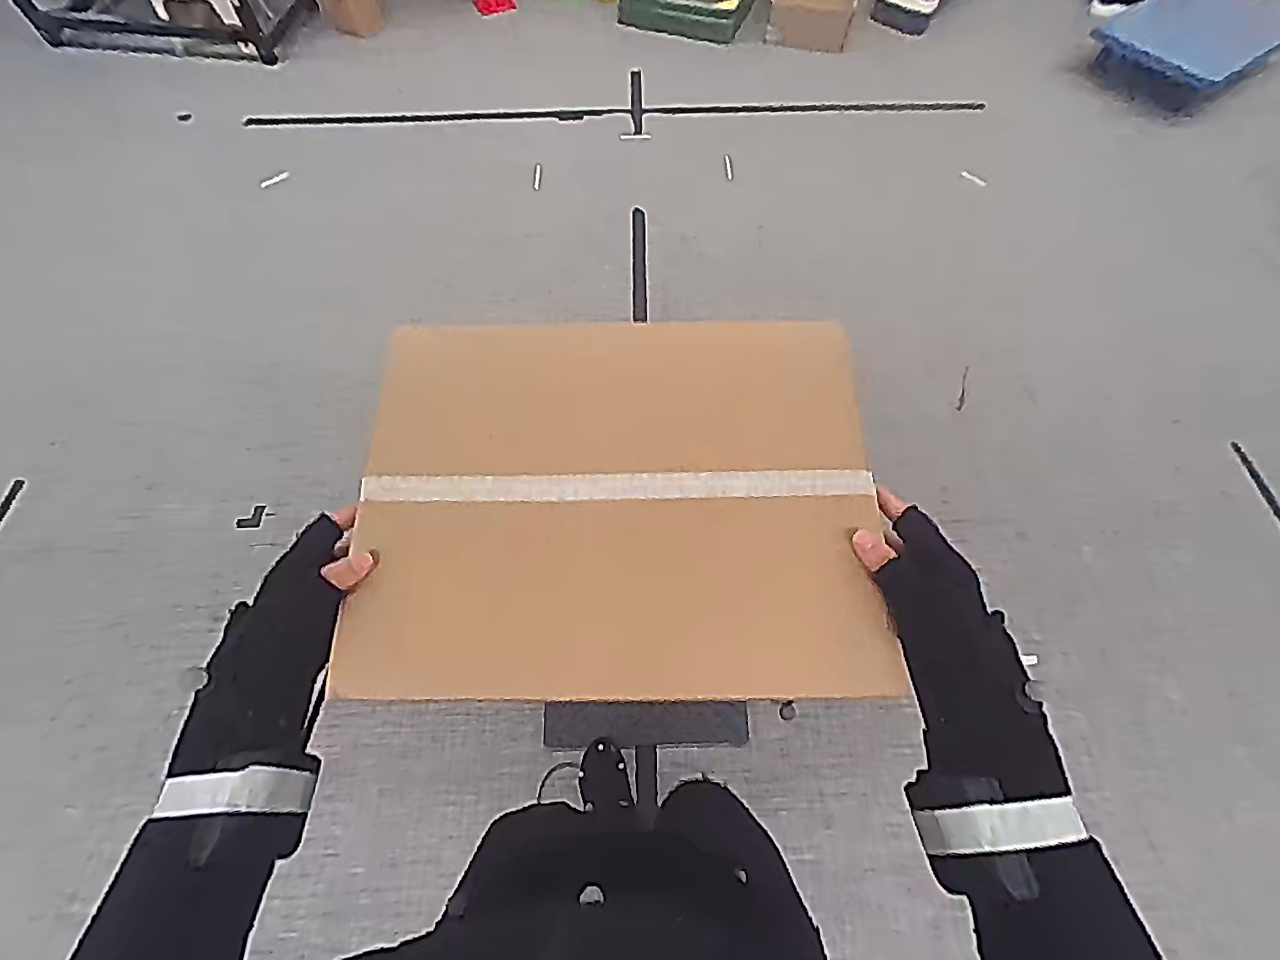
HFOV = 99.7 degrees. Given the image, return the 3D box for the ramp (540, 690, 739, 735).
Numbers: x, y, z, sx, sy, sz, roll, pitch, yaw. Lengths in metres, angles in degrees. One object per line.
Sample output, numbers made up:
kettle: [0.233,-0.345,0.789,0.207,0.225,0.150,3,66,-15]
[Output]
ramp: [-0.005,0.133,1.442,0.509,0.206,0.991,-1,64,-3]

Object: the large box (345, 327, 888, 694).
large box: [-0.016,0.055,0.580,0.408,0.320,0.320,0,69,0]
